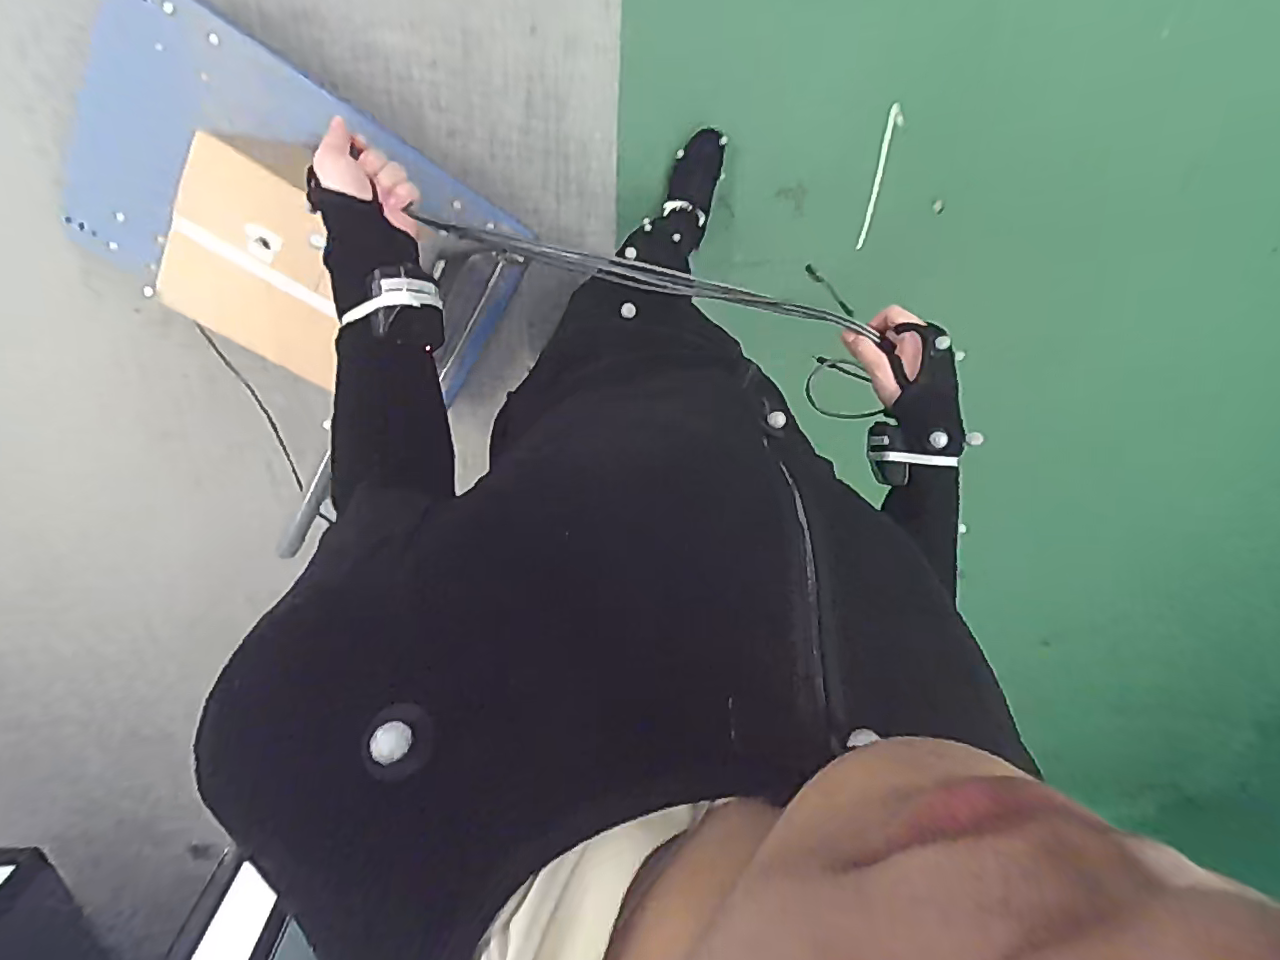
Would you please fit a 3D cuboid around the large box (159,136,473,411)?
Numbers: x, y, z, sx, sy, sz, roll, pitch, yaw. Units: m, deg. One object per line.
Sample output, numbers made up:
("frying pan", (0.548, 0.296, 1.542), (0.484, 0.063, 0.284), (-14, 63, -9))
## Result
("large box", (-0.613, -0.406, 1.091), (0.408, 0.320, 0.320), (30, 112, -16))
